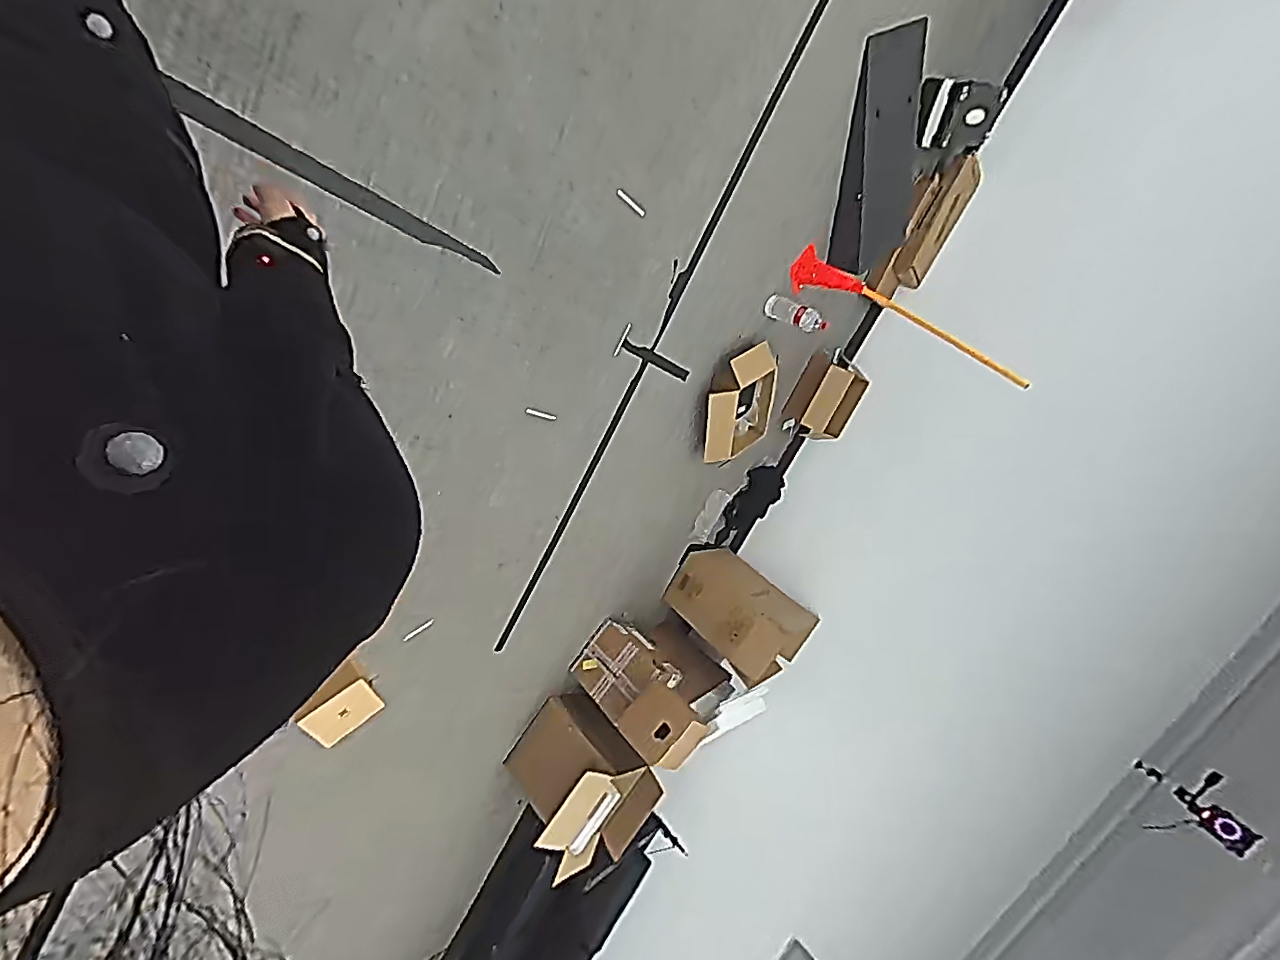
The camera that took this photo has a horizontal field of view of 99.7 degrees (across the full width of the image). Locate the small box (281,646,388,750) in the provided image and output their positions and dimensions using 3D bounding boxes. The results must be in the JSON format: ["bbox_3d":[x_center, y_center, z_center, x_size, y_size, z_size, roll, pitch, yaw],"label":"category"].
[{"bbox_3d":[-0.820,0.576,1.450,0.168,0.176,0.179,-35,143,-28],"label":"small box"}]
